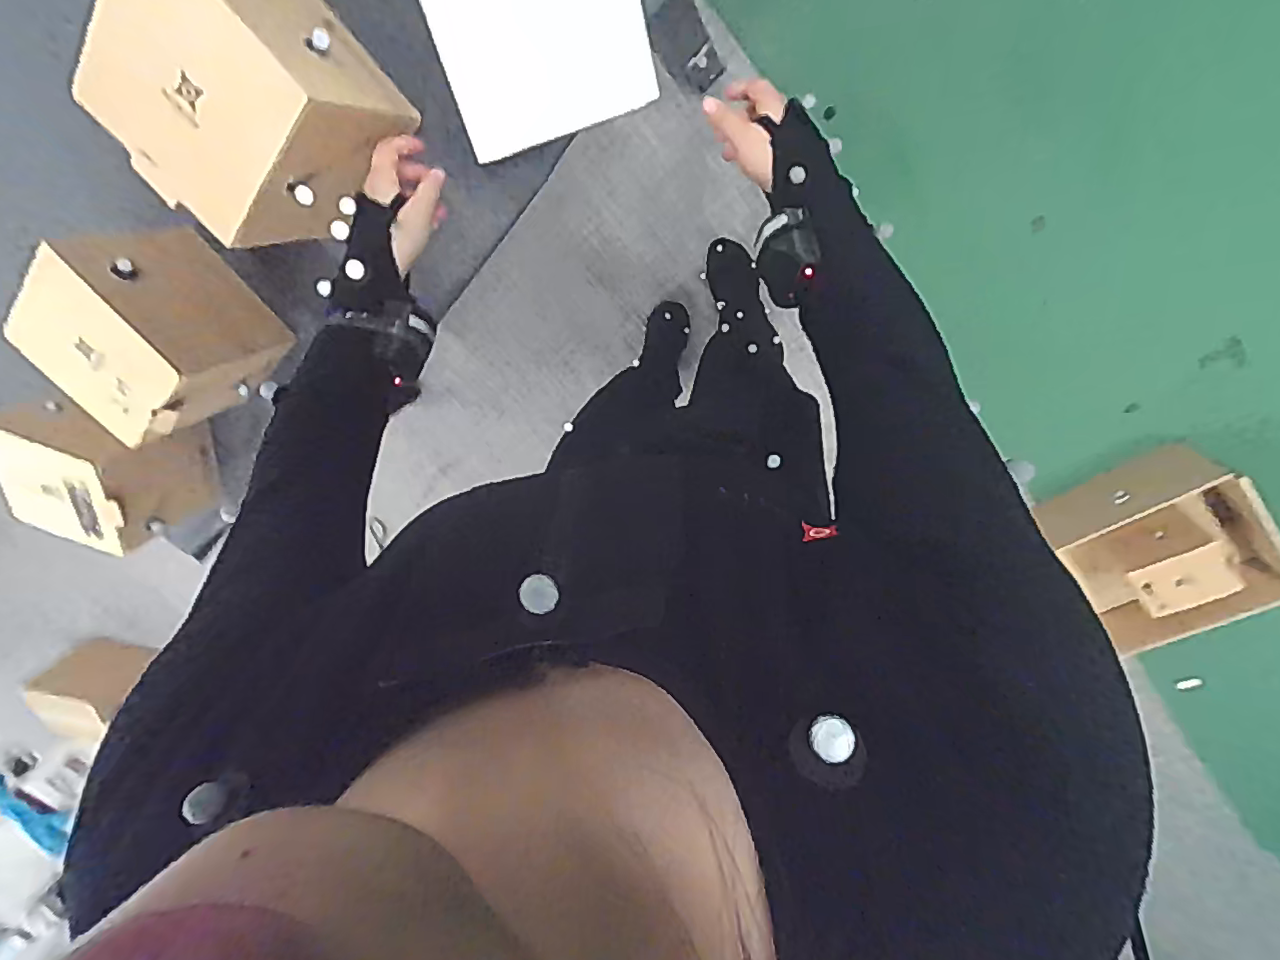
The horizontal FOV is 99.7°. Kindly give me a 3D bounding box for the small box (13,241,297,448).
[{"bbox_3d":[-0.589,-0.176,0.676,0.168,0.176,0.179,-31,108,27],"label":"small box"}]

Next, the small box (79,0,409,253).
[{"bbox_3d":[-0.358,-0.354,0.520,0.179,0.176,0.168,-35,106,29],"label":"small box"}]

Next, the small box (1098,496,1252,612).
[{"bbox_3d":[1.238,0.168,1.264,0.179,0.176,0.168,-36,108,28],"label":"small box"}]
